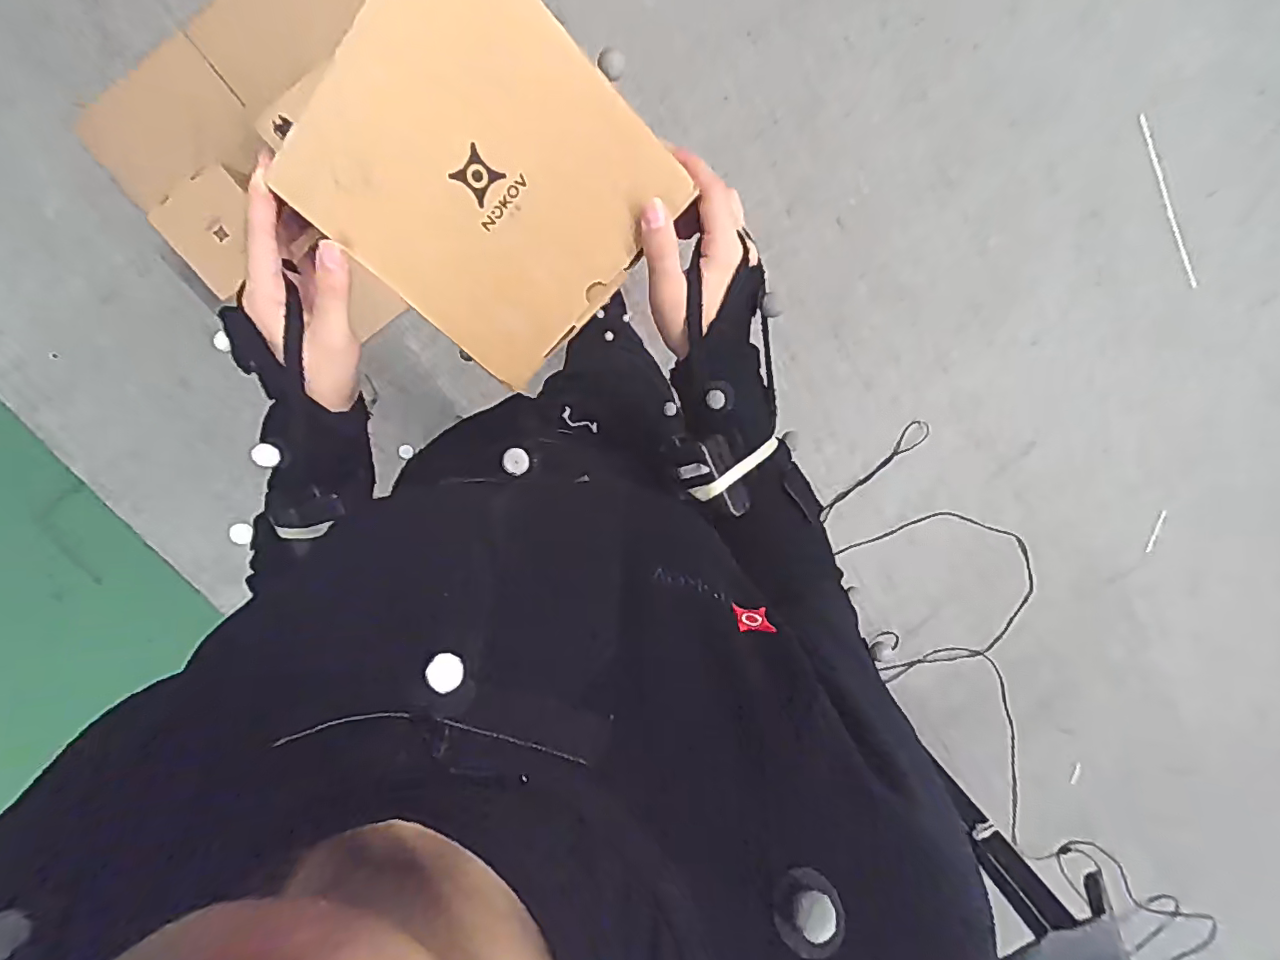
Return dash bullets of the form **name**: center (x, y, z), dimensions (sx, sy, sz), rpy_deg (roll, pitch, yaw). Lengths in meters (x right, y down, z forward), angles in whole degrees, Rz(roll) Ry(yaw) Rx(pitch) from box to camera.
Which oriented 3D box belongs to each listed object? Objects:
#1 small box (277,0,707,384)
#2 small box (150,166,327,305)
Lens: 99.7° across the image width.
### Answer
- **small box**: center (-0.082, -0.199, 0.366), dimensions (0.179, 0.176, 0.168), rpy_deg (41, 109, -20)
- **small box**: center (-0.758, -0.456, 1.042), dimensions (0.168, 0.176, 0.179), rpy_deg (-36, 107, 4)
